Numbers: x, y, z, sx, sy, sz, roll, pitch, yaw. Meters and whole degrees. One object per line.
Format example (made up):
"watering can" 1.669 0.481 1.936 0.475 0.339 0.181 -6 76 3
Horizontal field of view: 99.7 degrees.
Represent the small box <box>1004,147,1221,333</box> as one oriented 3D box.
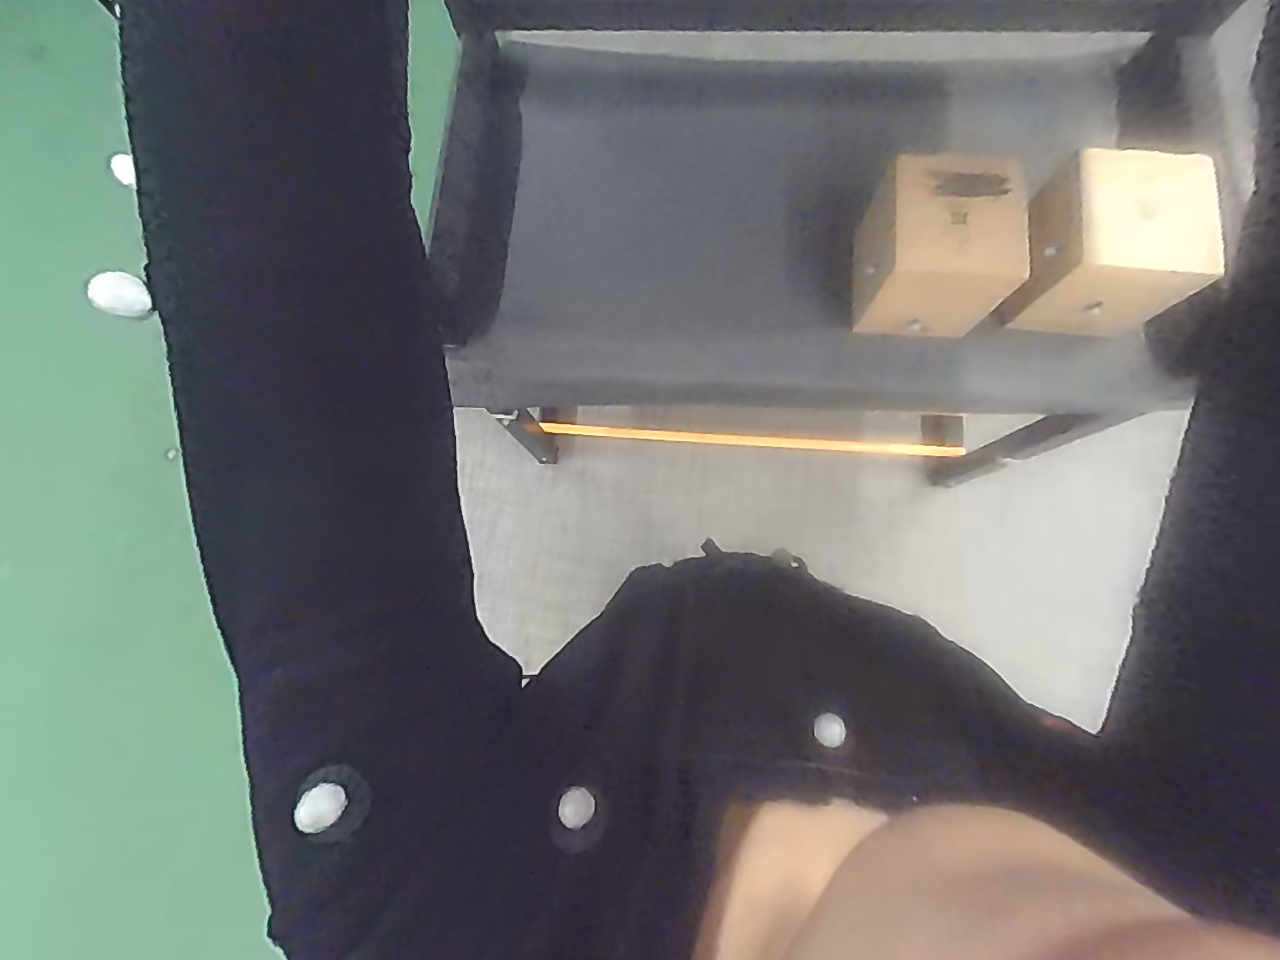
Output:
"small box" 0.645 -0.327 0.762 0.168 0.176 0.179 7 78 5
